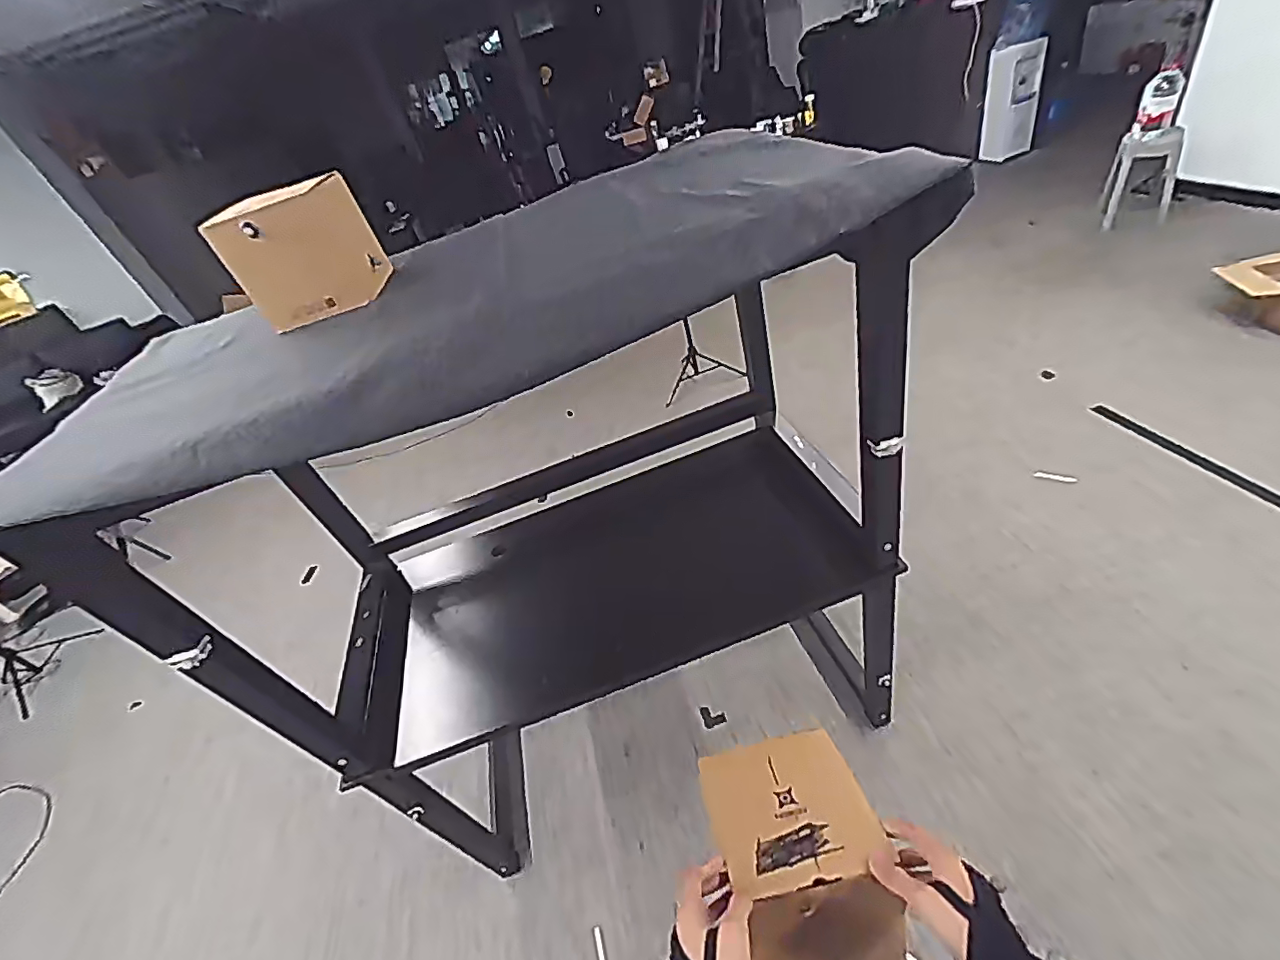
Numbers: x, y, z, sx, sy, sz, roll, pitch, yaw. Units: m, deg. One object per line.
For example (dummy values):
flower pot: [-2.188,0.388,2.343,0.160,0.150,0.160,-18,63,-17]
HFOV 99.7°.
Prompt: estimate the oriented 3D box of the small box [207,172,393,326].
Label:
small box: [-0.527,-0.372,0.872,0.168,0.176,0.179,-18,38,2]

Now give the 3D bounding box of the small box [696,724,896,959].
small box: [0.172,0.423,0.615,0.168,0.176,0.179,-12,19,-3]
